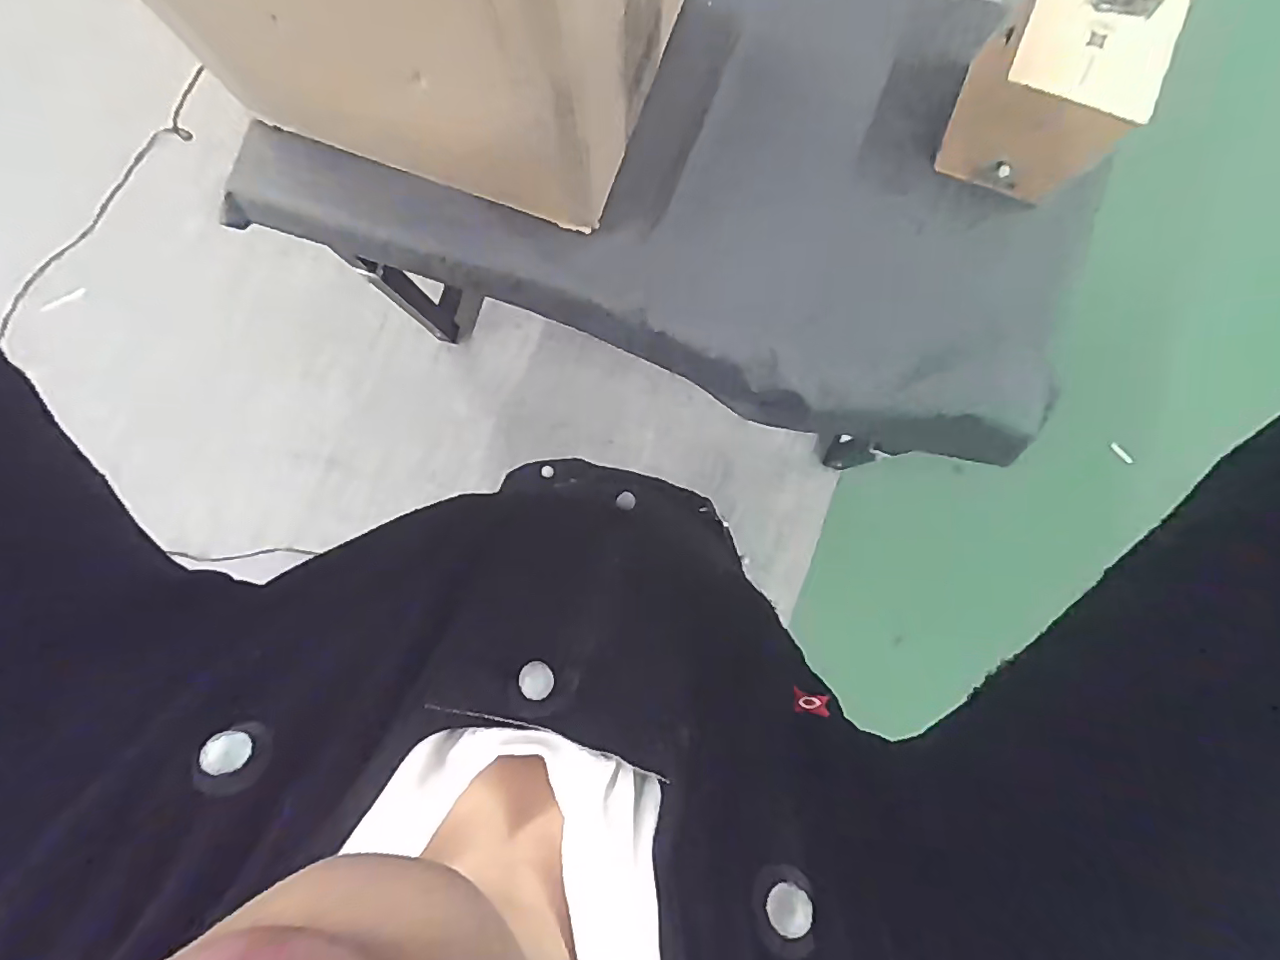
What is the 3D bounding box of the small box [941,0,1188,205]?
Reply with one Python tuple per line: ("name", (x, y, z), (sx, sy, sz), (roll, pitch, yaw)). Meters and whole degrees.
("small box", (0.530, -0.504, 0.703), (0.168, 0.176, 0.179), (21, 87, 3))
